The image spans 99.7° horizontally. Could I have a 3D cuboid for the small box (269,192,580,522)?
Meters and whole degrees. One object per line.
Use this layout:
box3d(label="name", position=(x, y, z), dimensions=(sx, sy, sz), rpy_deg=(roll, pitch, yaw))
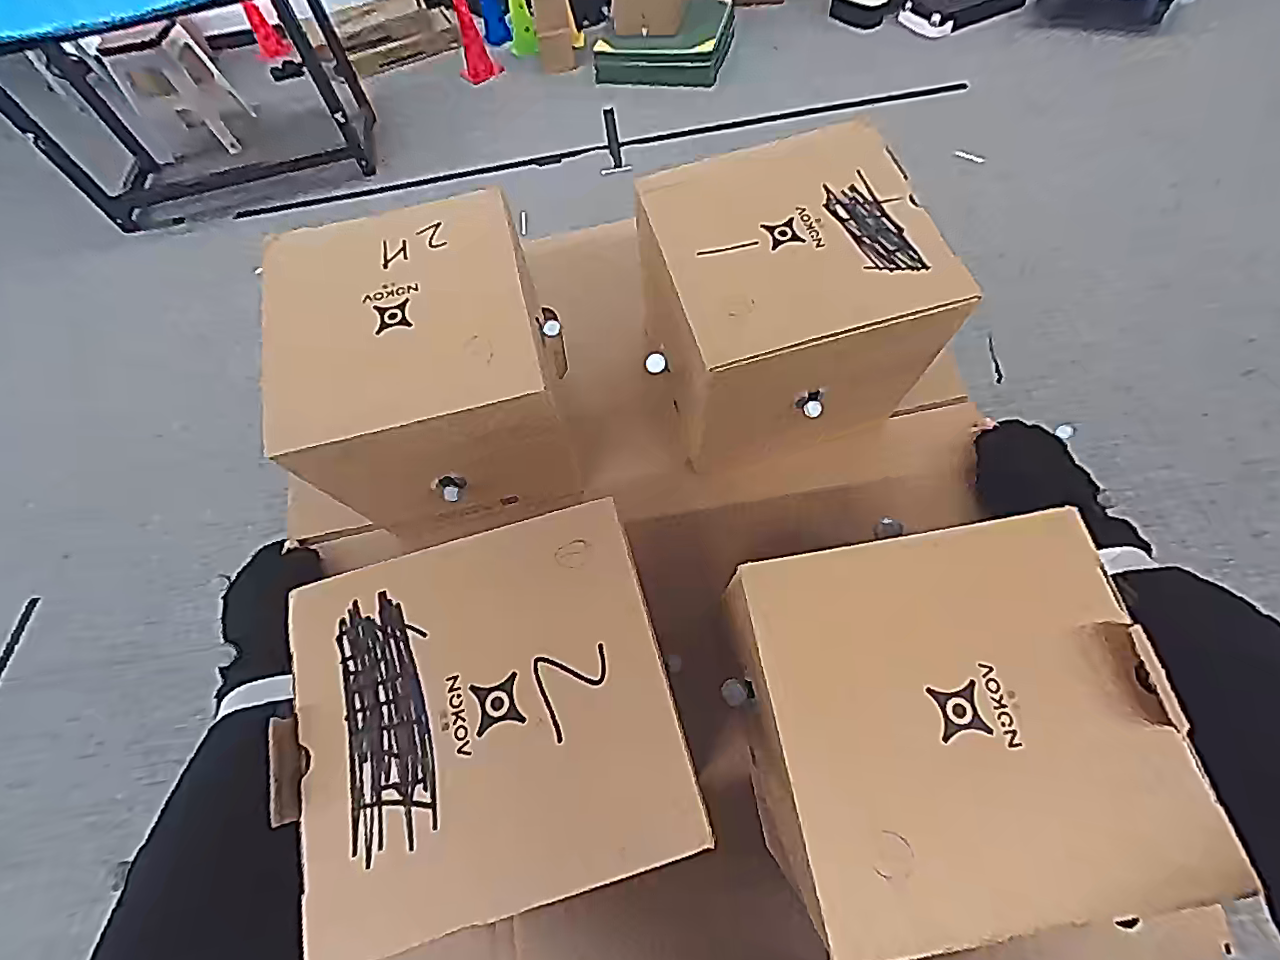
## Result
box3d(label="small box", position=(-0.149, -0.077, 0.420), dimensions=(0.168, 0.176, 0.179), rpy_deg=(-13, 68, -3))

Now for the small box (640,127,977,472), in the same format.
box3d(label="small box", position=(0.106, -0.125, 0.423), dimensions=(0.179, 0.176, 0.168), rpy_deg=(-15, 69, -1))
